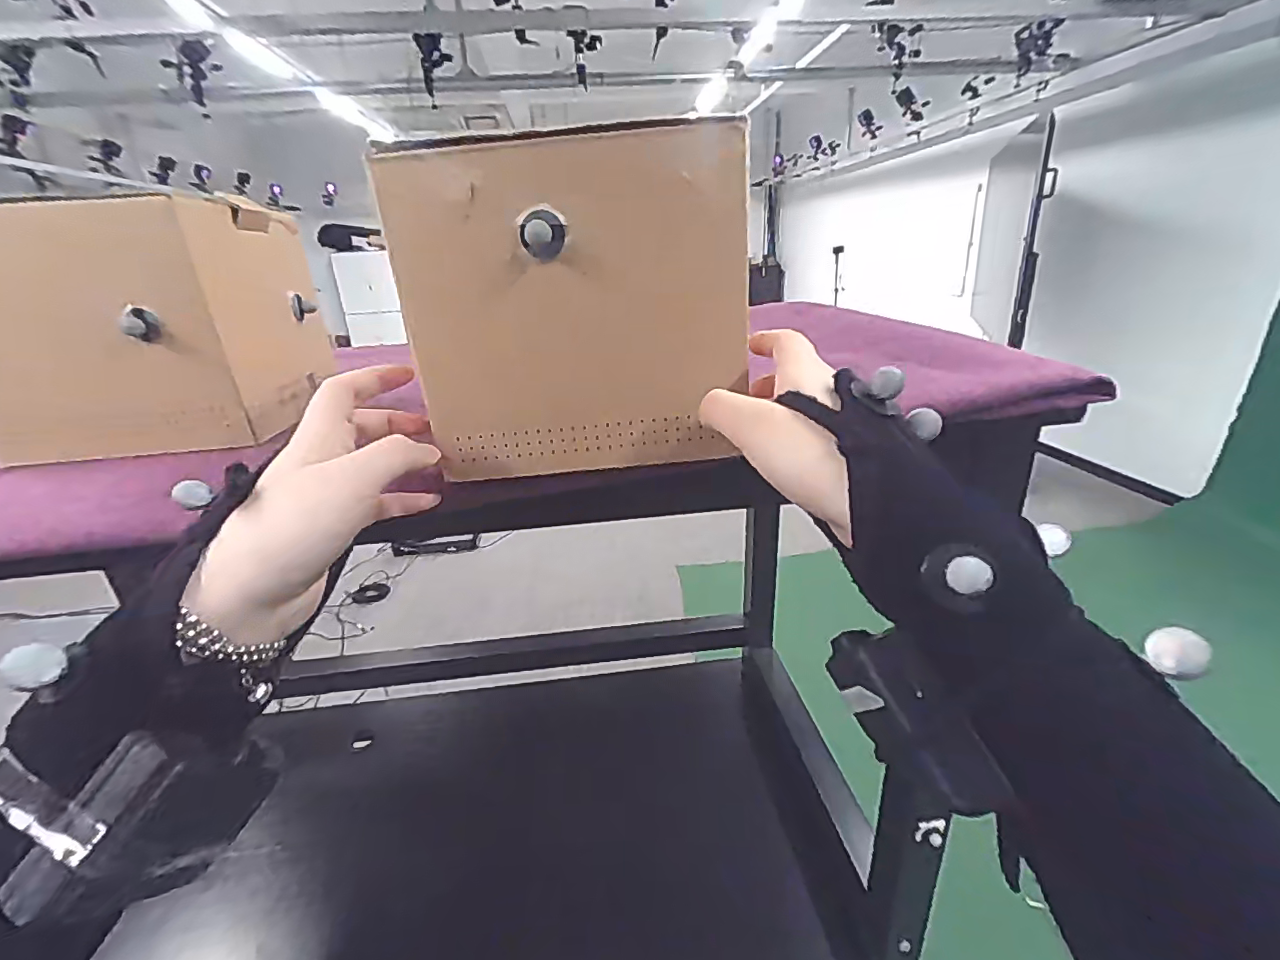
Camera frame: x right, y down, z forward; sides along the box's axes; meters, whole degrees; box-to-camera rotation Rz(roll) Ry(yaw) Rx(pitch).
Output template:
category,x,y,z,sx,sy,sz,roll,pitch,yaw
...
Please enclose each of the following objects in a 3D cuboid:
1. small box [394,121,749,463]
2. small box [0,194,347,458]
category,x,y,z,sx,sy,sz,roll,pitch,yaw
small box,-0.028,-0.116,0.360,0.179,0.176,0.168,-4,23,0
small box,-0.369,-0.126,0.438,0.179,0.176,0.168,-6,22,-5
